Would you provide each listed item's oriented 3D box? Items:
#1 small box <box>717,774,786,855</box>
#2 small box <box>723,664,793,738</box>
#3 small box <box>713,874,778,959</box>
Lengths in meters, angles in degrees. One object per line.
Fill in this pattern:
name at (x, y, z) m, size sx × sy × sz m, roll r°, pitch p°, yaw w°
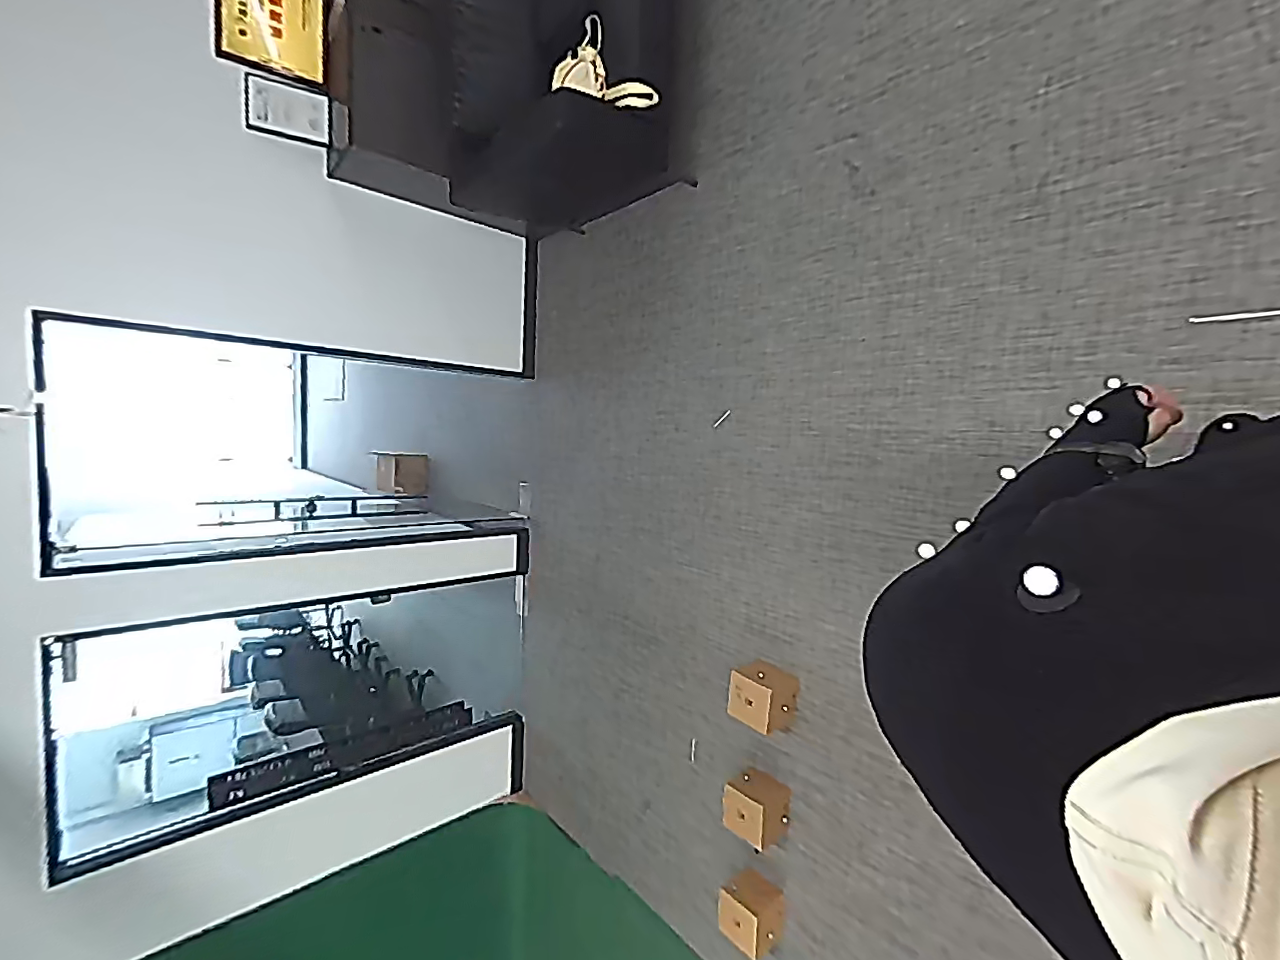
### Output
small box at (0.402, 1.195, 1.953) m, size 0.179 × 0.176 × 0.168 m, roll 6°, pitch 96°, yaw 48°
small box at (0.421, 0.777, 1.924) m, size 0.179 × 0.176 × 0.168 m, roll 13°, pitch 99°, yaw 47°
small box at (0.387, 1.594, 1.974) m, size 0.179 × 0.176 × 0.168 m, roll 6°, pitch 95°, yaw 49°
